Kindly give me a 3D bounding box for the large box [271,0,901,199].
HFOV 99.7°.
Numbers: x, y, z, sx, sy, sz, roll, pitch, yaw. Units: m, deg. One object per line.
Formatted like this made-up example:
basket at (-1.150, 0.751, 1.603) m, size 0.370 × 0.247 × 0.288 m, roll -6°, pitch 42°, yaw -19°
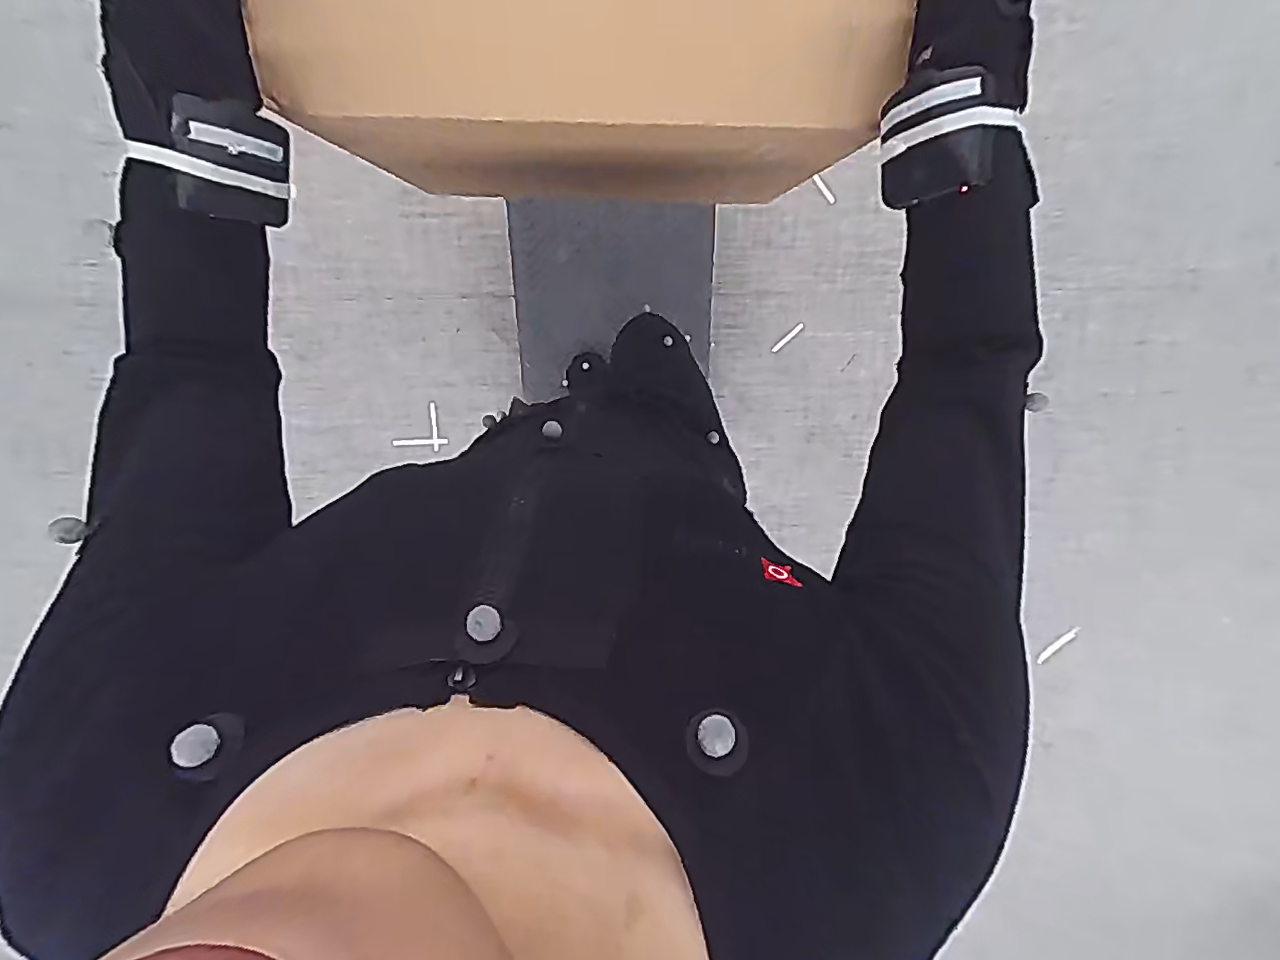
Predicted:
large box at (-0.038, -0.434, 0.453) m, size 0.408 × 0.320 × 0.320 m, roll -1°, pitch 109°, yaw -3°
